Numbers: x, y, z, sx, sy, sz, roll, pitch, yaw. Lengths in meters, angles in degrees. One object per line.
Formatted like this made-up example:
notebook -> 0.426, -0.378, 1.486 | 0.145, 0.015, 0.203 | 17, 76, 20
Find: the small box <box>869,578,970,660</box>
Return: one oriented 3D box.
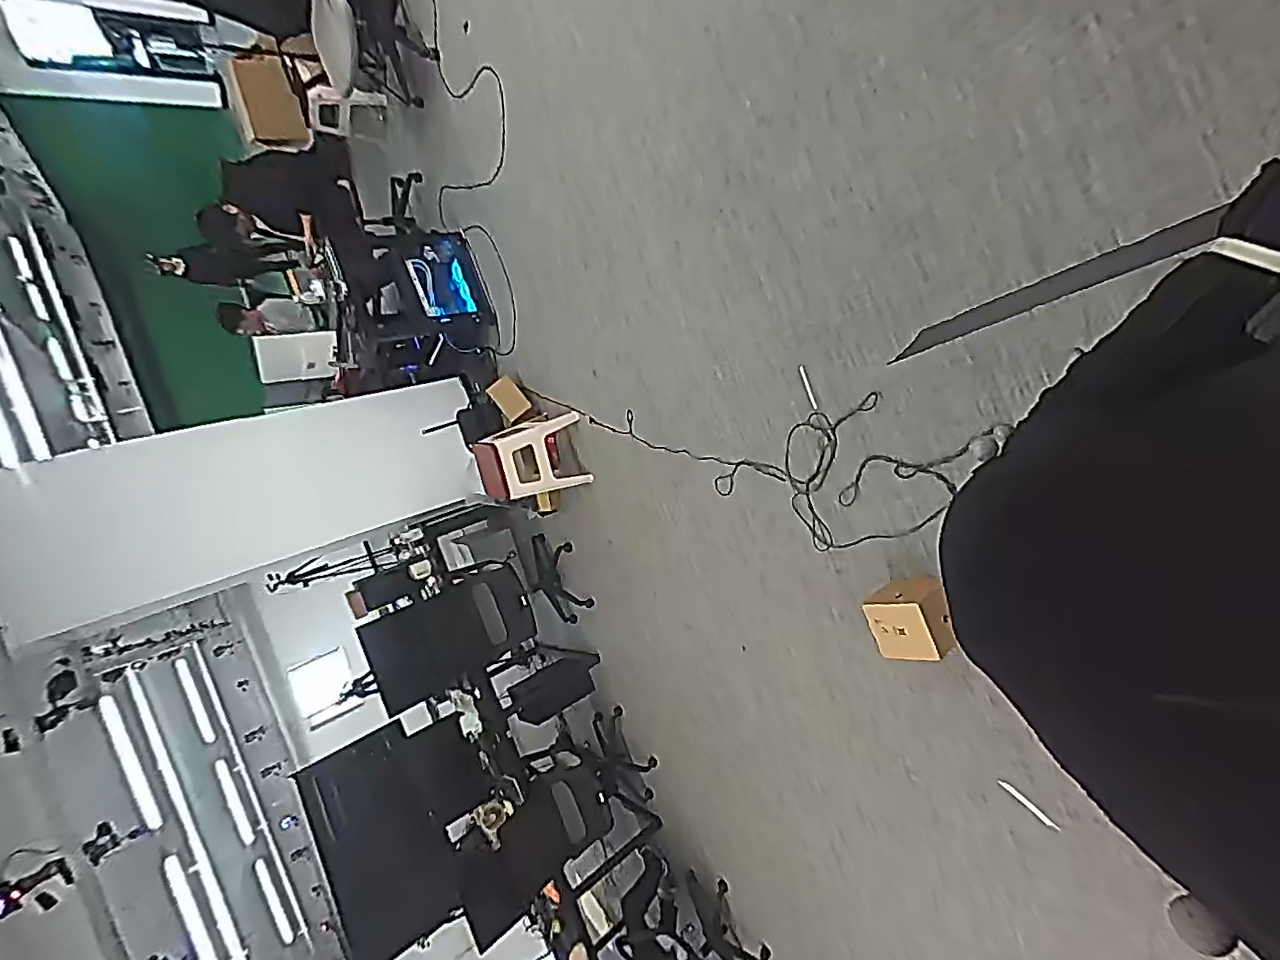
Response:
small box -> 0.783, 0.380, 1.501 | 0.179, 0.176, 0.168 | -22, 89, 57
